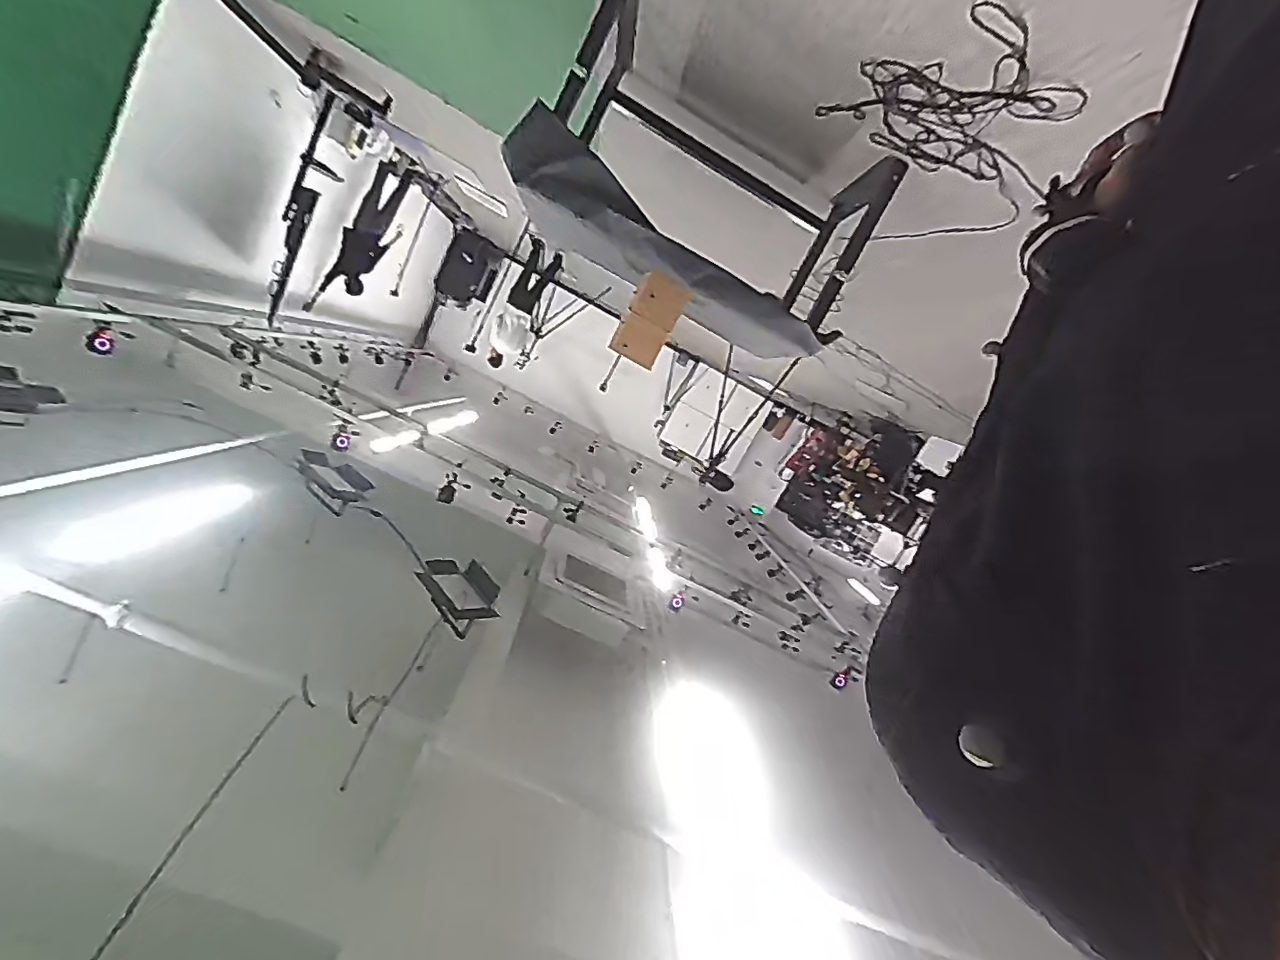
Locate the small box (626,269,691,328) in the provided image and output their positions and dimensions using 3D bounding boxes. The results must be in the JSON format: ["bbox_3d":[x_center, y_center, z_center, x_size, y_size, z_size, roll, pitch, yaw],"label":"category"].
[{"bbox_3d":[0.070,-0.712,2.113,0.179,0.176,0.168,24,-169,-17],"label":"small box"}]

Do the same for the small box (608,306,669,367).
[{"bbox_3d":[-0.006,-0.572,2.144,0.179,0.176,0.168,26,-170,-17],"label":"small box"}]
